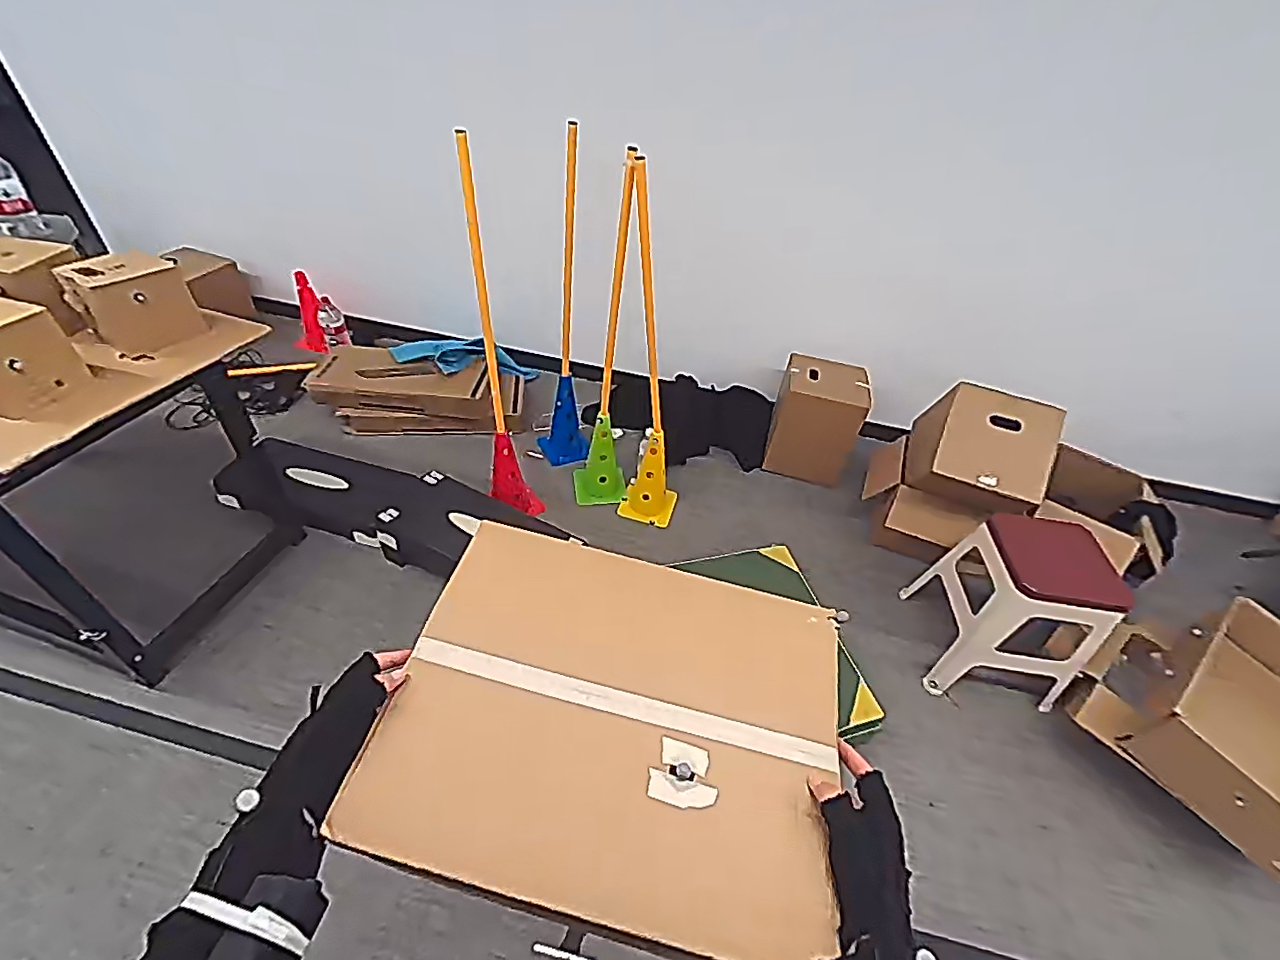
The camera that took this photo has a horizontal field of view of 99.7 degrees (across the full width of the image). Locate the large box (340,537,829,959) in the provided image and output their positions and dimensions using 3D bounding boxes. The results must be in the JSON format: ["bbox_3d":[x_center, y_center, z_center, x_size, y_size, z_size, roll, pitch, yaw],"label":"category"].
[{"bbox_3d":[-0.036,0.315,0.628,0.408,0.320,0.320,14,50,4],"label":"large box"}]
